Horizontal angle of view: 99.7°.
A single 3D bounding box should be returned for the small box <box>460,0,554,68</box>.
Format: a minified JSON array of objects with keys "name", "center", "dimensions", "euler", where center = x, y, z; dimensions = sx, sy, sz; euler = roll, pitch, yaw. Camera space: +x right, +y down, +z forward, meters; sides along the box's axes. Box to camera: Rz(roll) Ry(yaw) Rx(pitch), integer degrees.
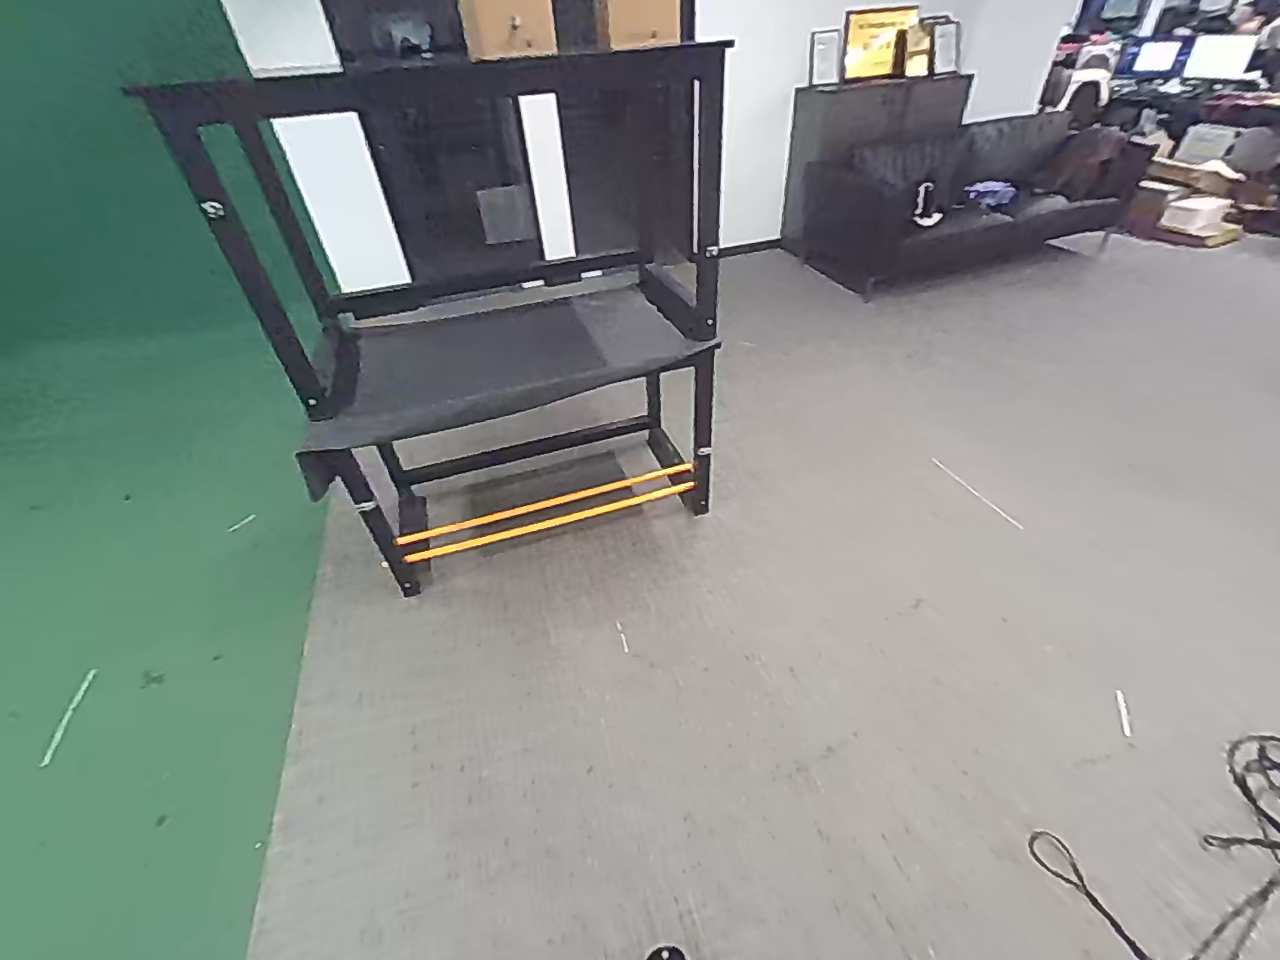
[{"name":"small box","center":[-0.303,-1.034,1.212],"dimensions":[0.168,0.176,0.179],"euler":[-18,41,-16]}]
